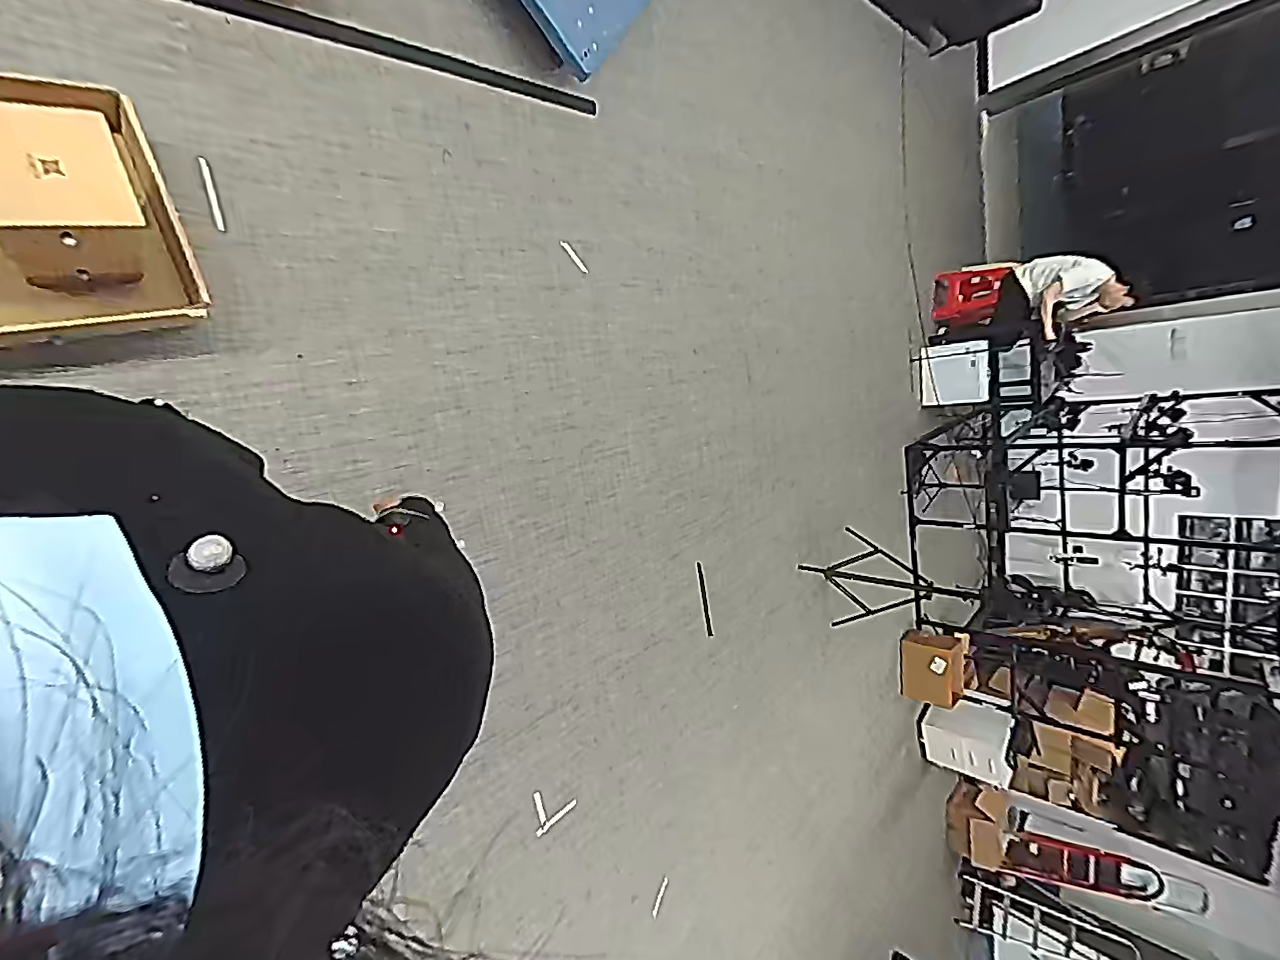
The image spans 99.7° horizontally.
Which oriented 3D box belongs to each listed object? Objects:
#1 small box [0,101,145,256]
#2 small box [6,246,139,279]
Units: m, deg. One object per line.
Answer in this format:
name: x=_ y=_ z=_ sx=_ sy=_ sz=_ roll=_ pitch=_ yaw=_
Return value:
small box: x=-0.912 y=-0.455 z=0.836 sx=0.179 sy=0.176 sz=0.168 roll=-23 pitch=108 yaw=-40
small box: x=-1.023 y=-0.462 z=0.955 sx=0.168 sy=0.176 sz=0.179 roll=-23 pitch=107 yaw=-41
